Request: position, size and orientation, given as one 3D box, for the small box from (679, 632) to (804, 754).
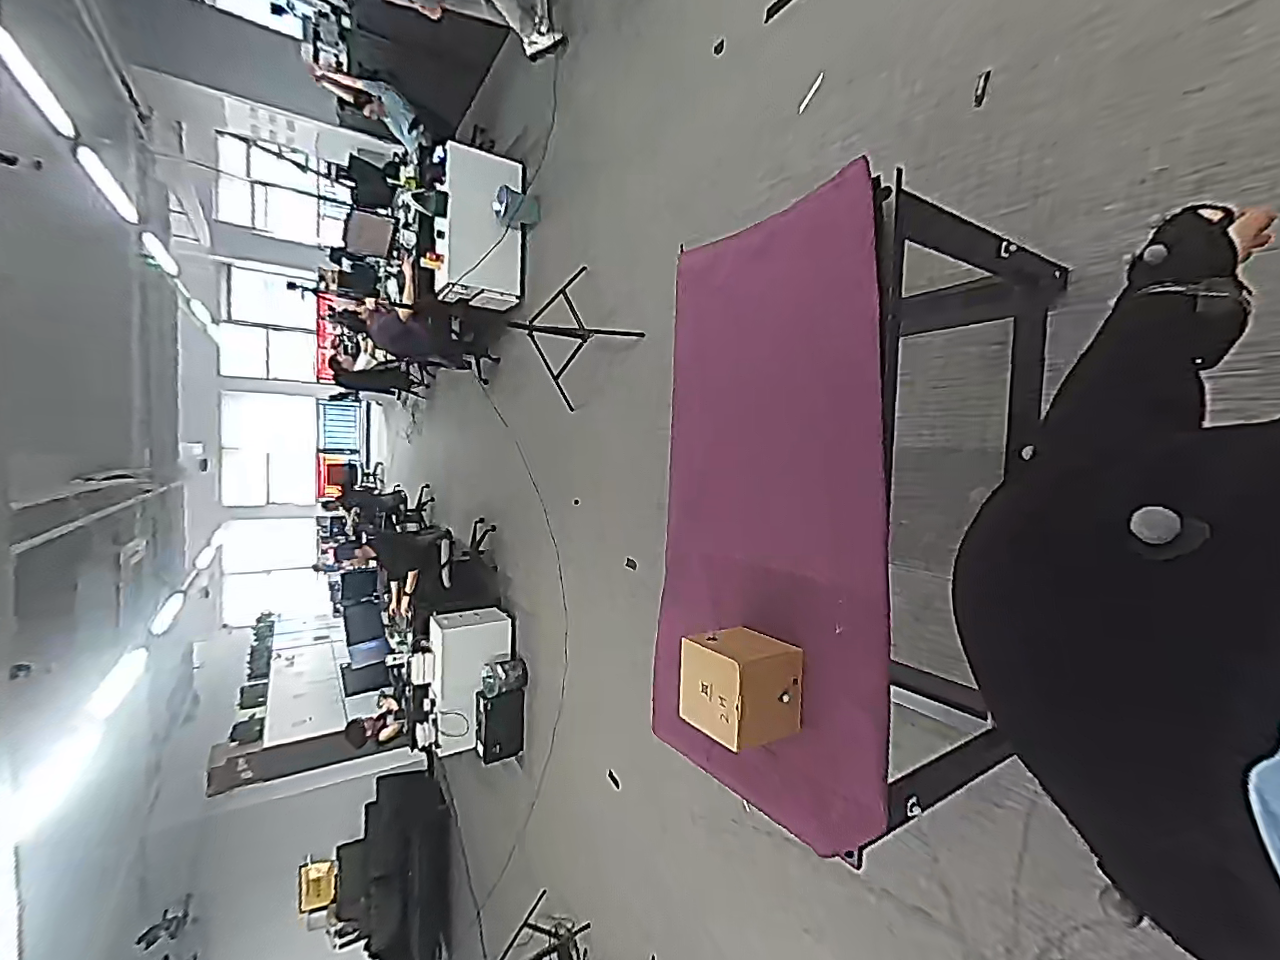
[{"bbox_3d":[0.196,0.407,1.069,0.179,0.176,0.168,3,92,57],"label":"small box"}]
